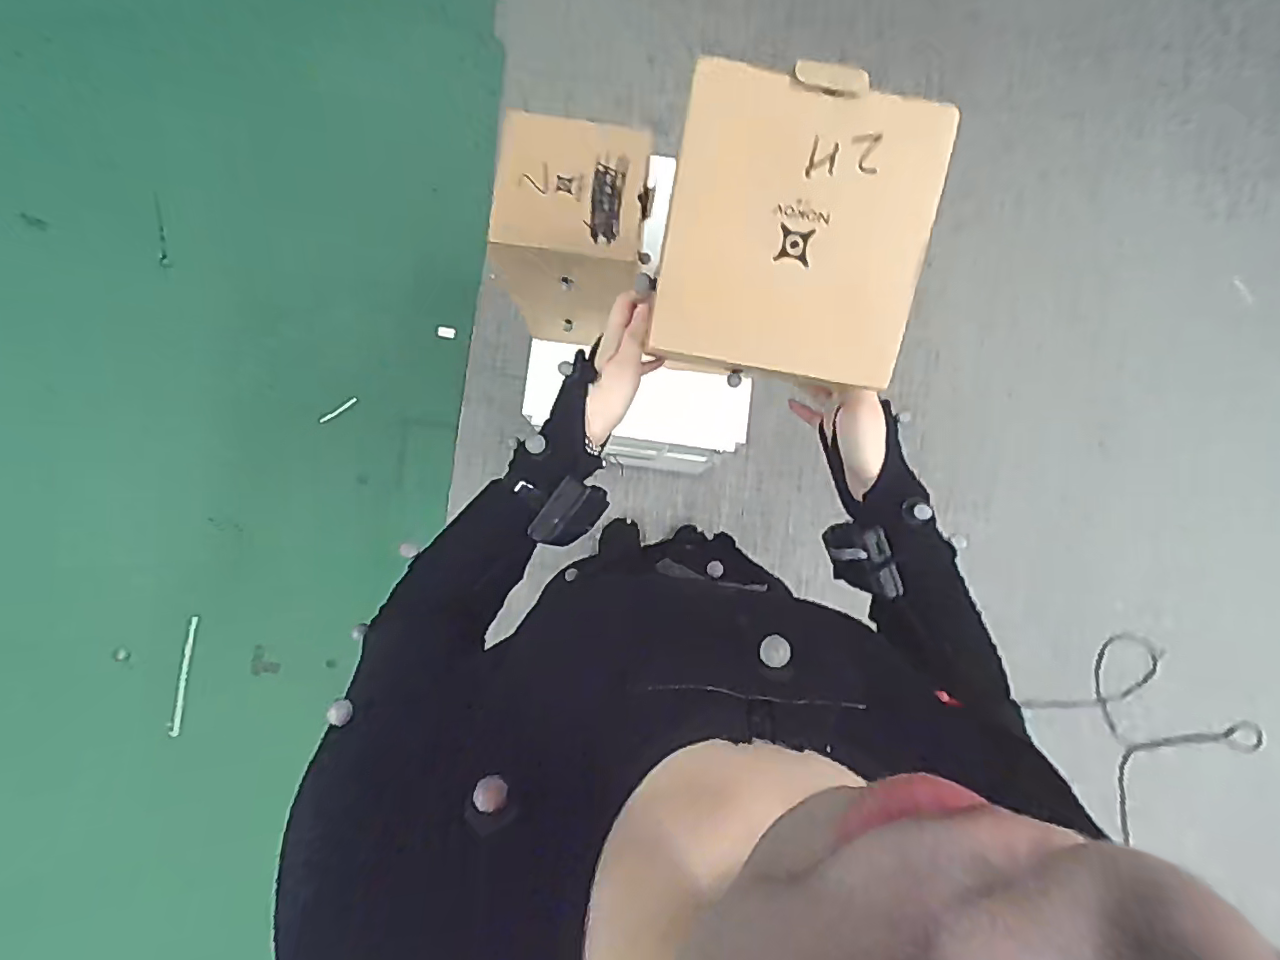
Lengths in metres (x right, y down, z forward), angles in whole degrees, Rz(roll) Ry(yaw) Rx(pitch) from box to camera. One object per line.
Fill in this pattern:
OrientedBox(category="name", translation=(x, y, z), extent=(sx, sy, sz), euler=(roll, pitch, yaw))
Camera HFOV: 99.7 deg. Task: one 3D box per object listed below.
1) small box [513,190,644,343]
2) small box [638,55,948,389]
OrientedBox(category="small box", translation=(-0.092, -0.333, 0.875), extent=(0.179, 0.176, 0.168), euler=(7, 86, -2))
OrientedBox(category="small box", translation=(0.094, -0.175, 0.424), extent=(0.168, 0.176, 0.179), euler=(10, 101, -3))
